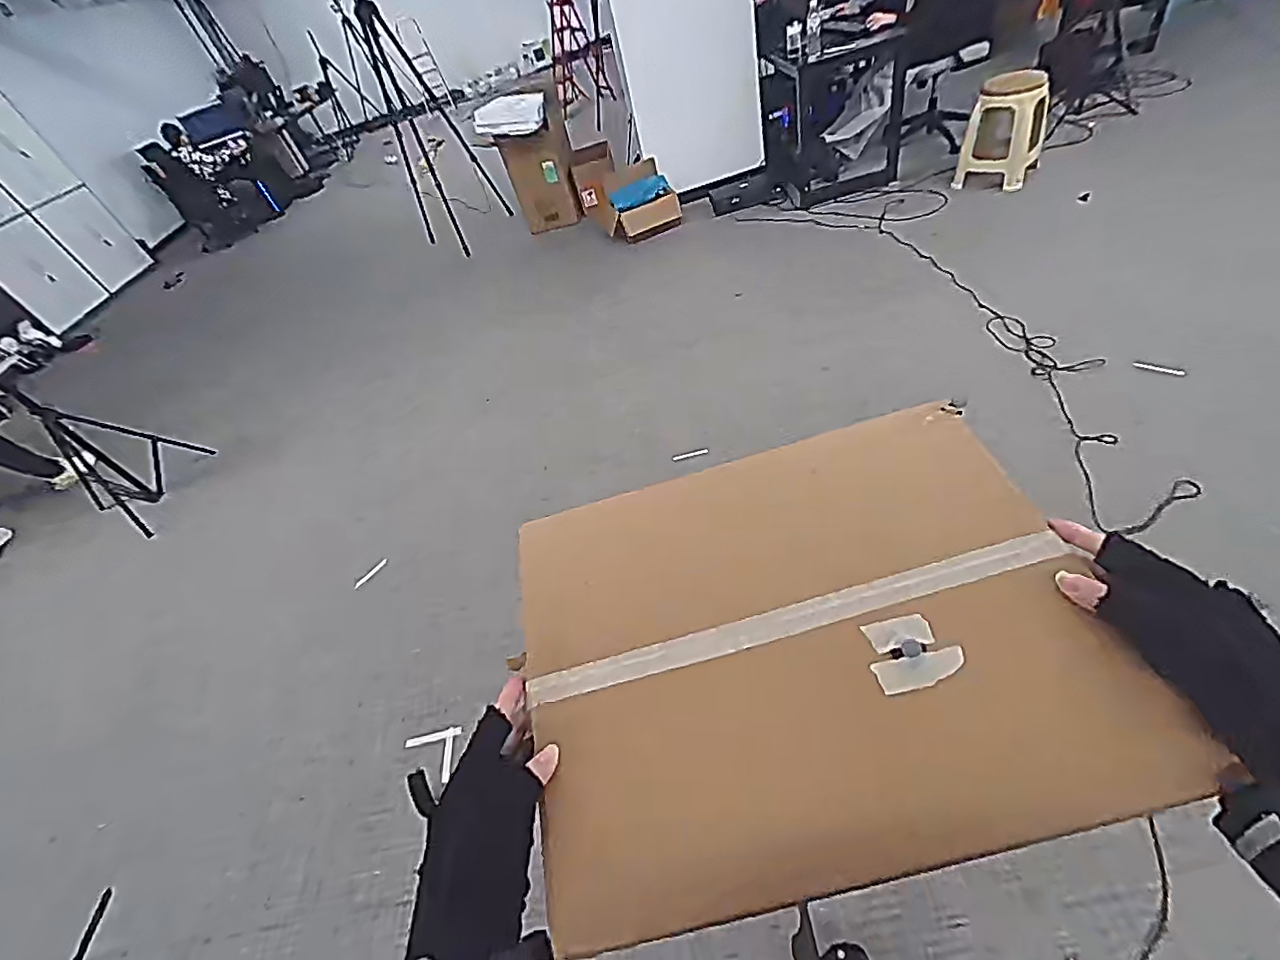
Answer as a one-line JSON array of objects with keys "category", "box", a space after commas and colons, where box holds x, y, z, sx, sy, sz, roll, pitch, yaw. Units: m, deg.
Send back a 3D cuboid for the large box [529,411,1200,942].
[{"category": "large box", "box": [0.143, 0.195, 0.533, 0.408, 0.320, 0.320, -17, 53, 2]}]
